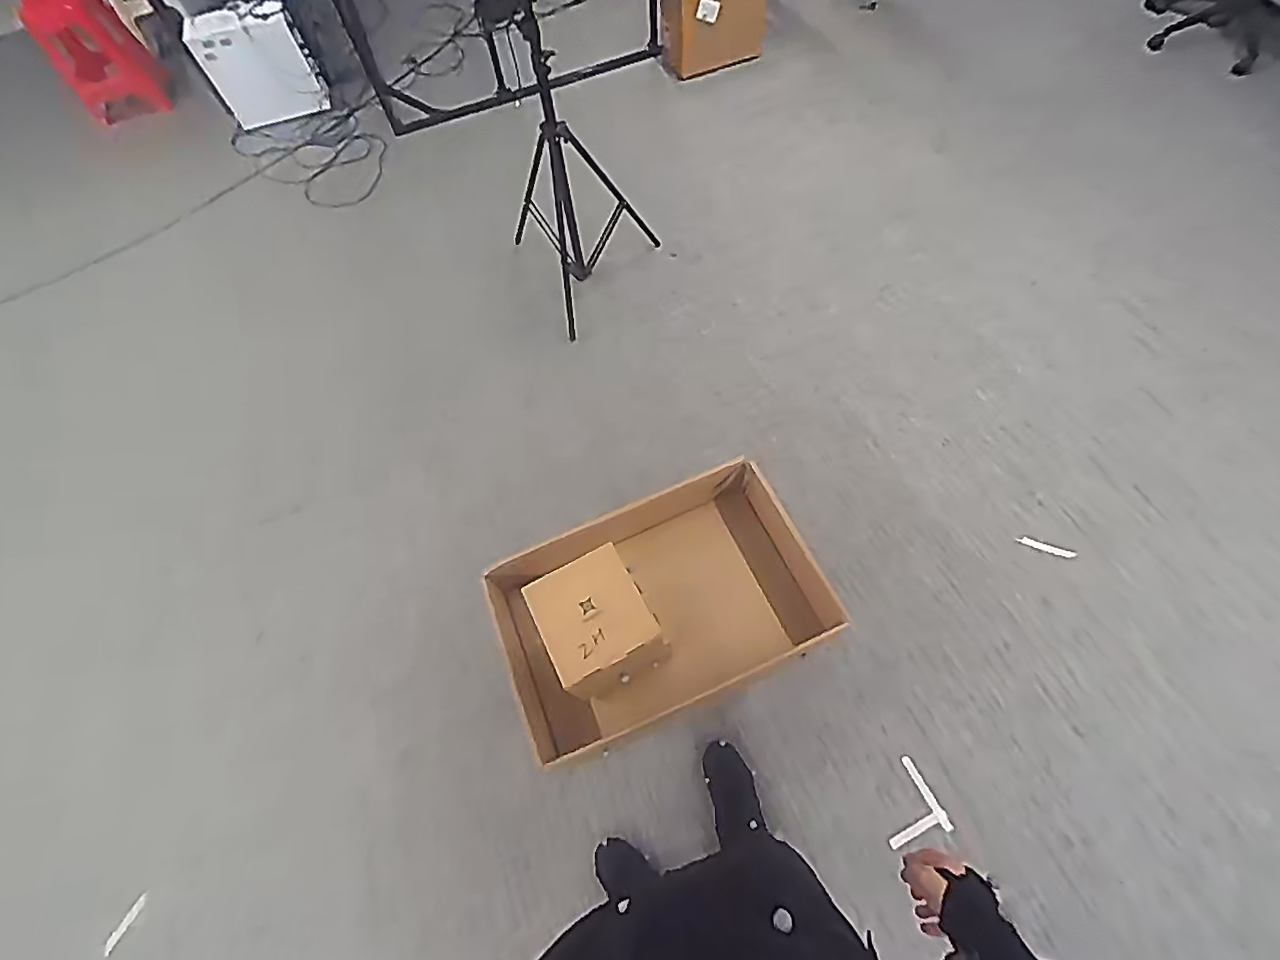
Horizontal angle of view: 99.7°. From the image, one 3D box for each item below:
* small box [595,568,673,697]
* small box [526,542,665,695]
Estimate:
[{"bbox_3d":[-0.050,0.303,1.060,0.179,0.176,0.168,-29,64,-9],"label":"small box"},{"bbox_3d":[-0.068,0.239,0.910,0.168,0.176,0.179,-27,65,-9],"label":"small box"}]
